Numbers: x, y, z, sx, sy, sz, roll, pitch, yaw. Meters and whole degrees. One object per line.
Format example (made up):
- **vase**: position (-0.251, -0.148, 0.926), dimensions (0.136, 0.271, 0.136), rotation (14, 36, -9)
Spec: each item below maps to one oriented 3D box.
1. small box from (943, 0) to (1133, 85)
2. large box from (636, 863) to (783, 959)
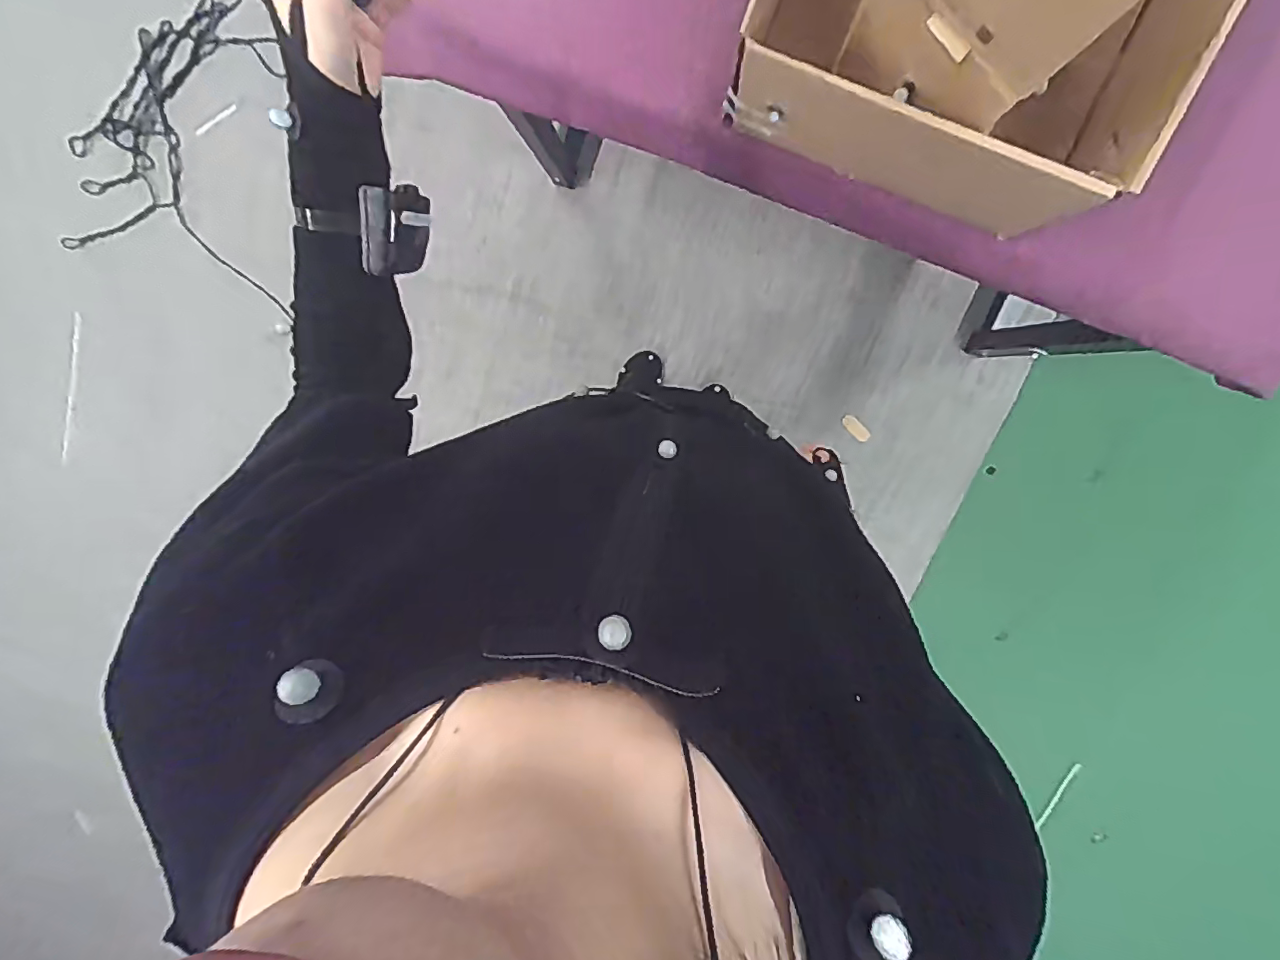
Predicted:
- **small box**: position (0.315, -0.424, 0.358), dimensions (0.168, 0.176, 0.179), rotation (43, 100, -3)
- **large box**: position (0.192, 1.435, 1.634), dimensions (0.408, 0.320, 0.320), rotation (7, 102, 2)
